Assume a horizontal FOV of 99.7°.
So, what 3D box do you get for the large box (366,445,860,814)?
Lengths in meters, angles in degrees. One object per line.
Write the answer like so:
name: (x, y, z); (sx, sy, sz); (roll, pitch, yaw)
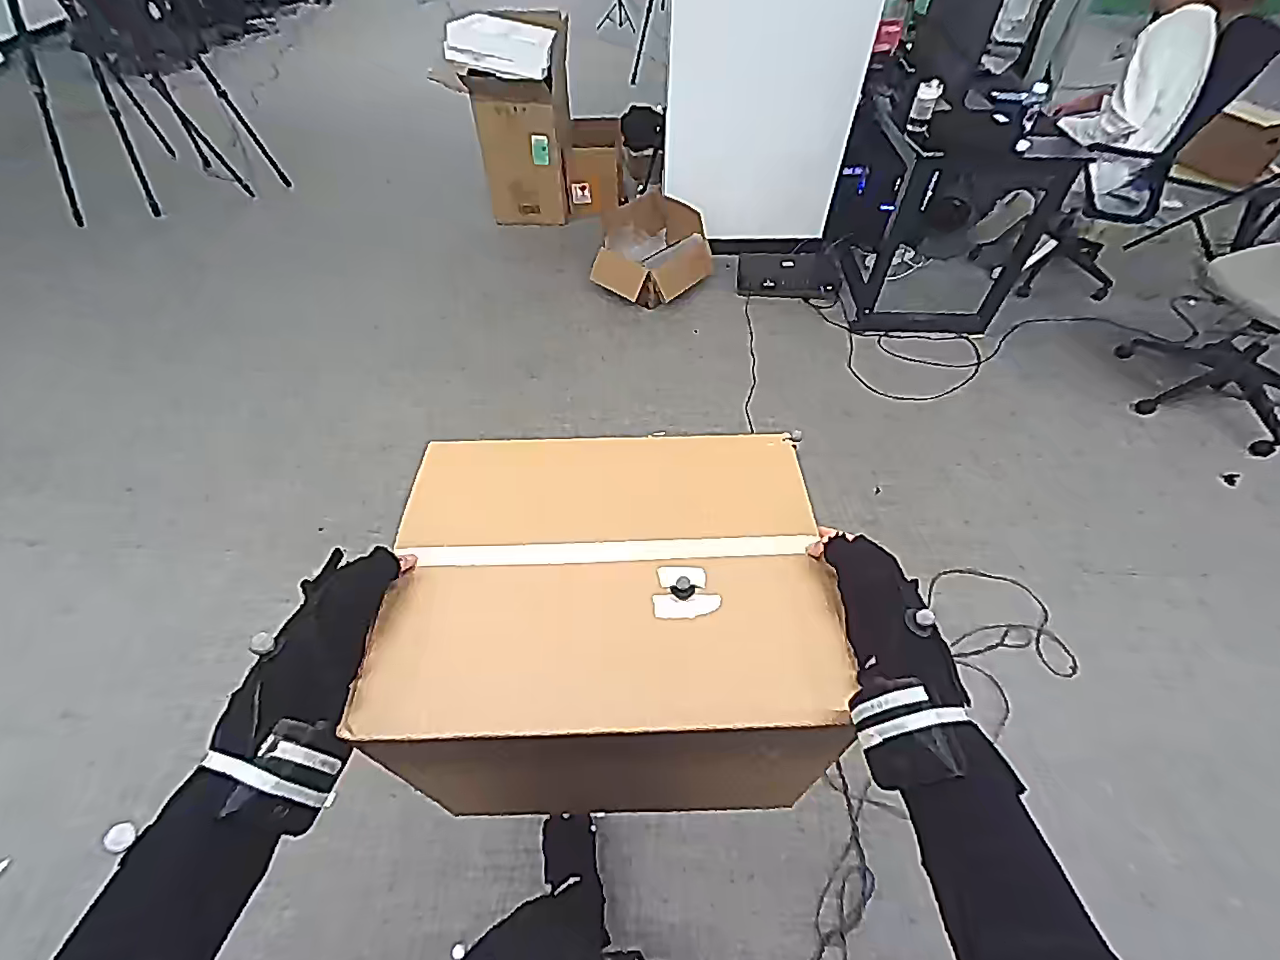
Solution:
large box: (-0.025, 0.178, 0.637); (0.408, 0.320, 0.320); (-1, 49, -1)
